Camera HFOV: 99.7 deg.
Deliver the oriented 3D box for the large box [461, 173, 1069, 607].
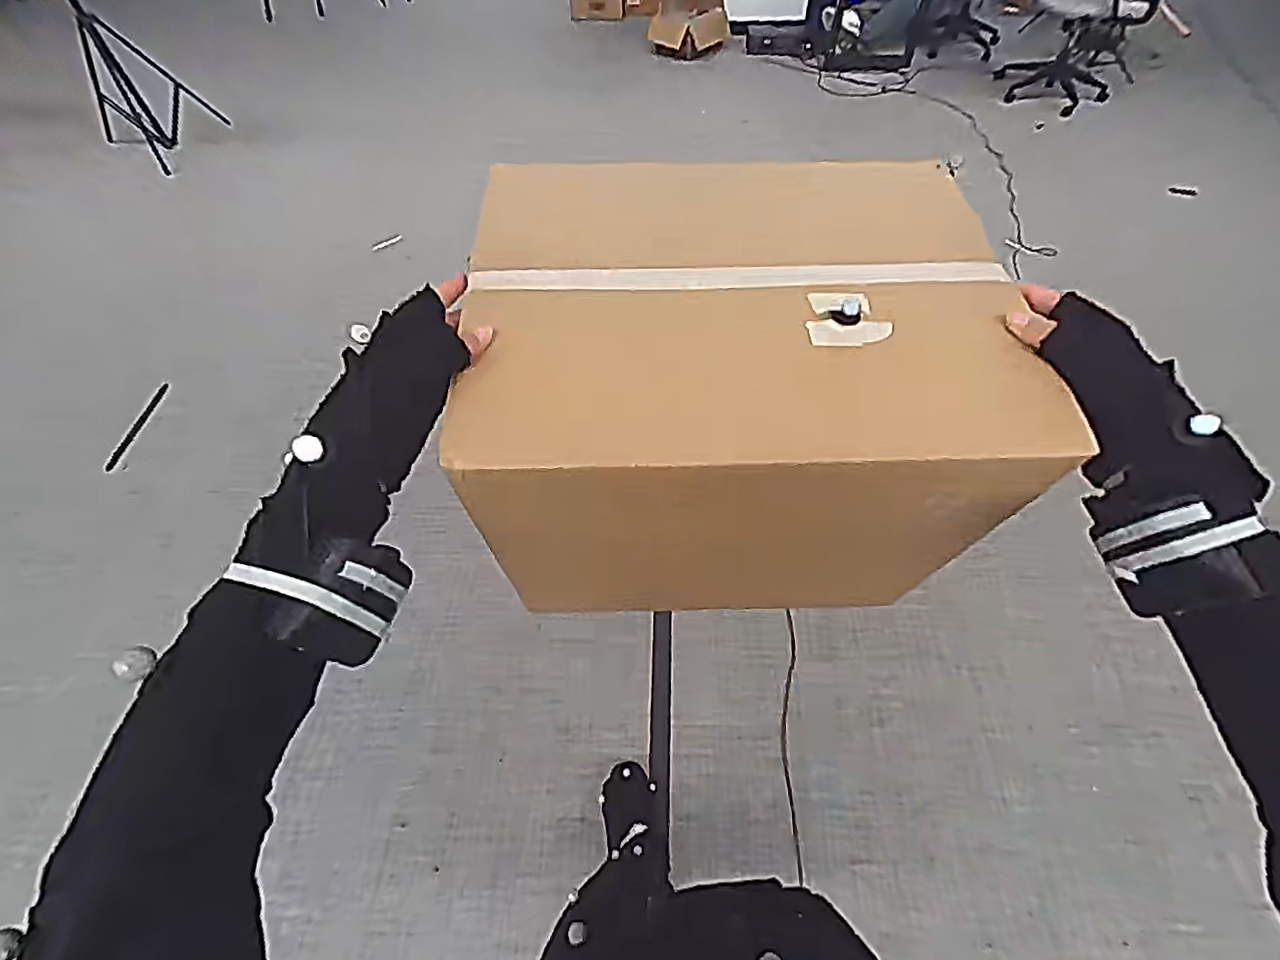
[{"bbox_3d":[0.072,-0.072,0.545,0.408,0.320,0.320,-1,61,-2],"label":"large box"}]
